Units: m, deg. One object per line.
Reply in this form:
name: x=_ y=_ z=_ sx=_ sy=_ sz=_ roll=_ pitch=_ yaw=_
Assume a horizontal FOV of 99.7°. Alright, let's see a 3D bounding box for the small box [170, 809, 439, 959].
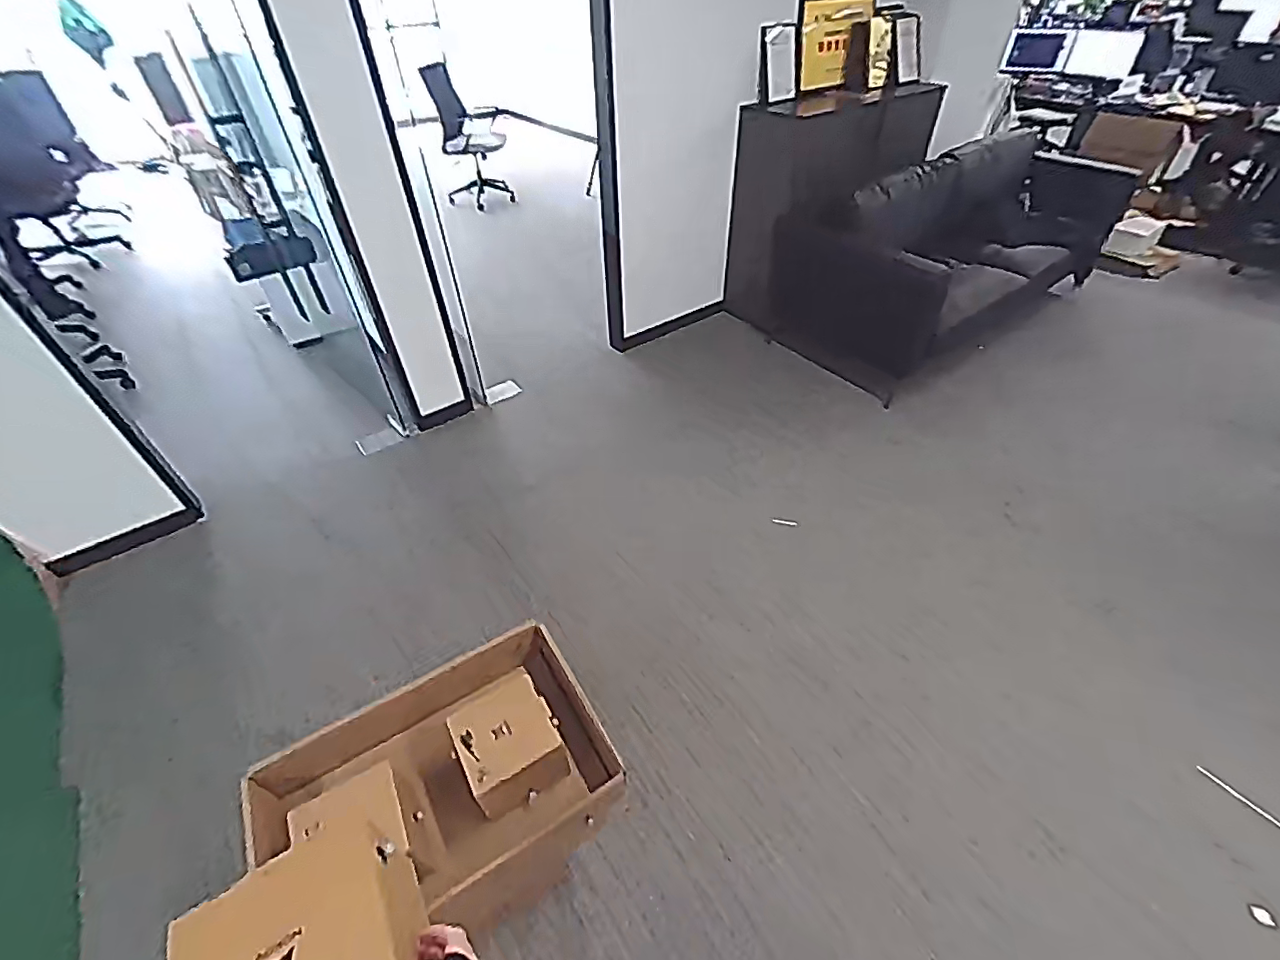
small box: x=-0.296 y=0.465 z=0.505 sx=0.168 sy=0.176 sz=0.179 roll=-25 pitch=43 yaw=-24
